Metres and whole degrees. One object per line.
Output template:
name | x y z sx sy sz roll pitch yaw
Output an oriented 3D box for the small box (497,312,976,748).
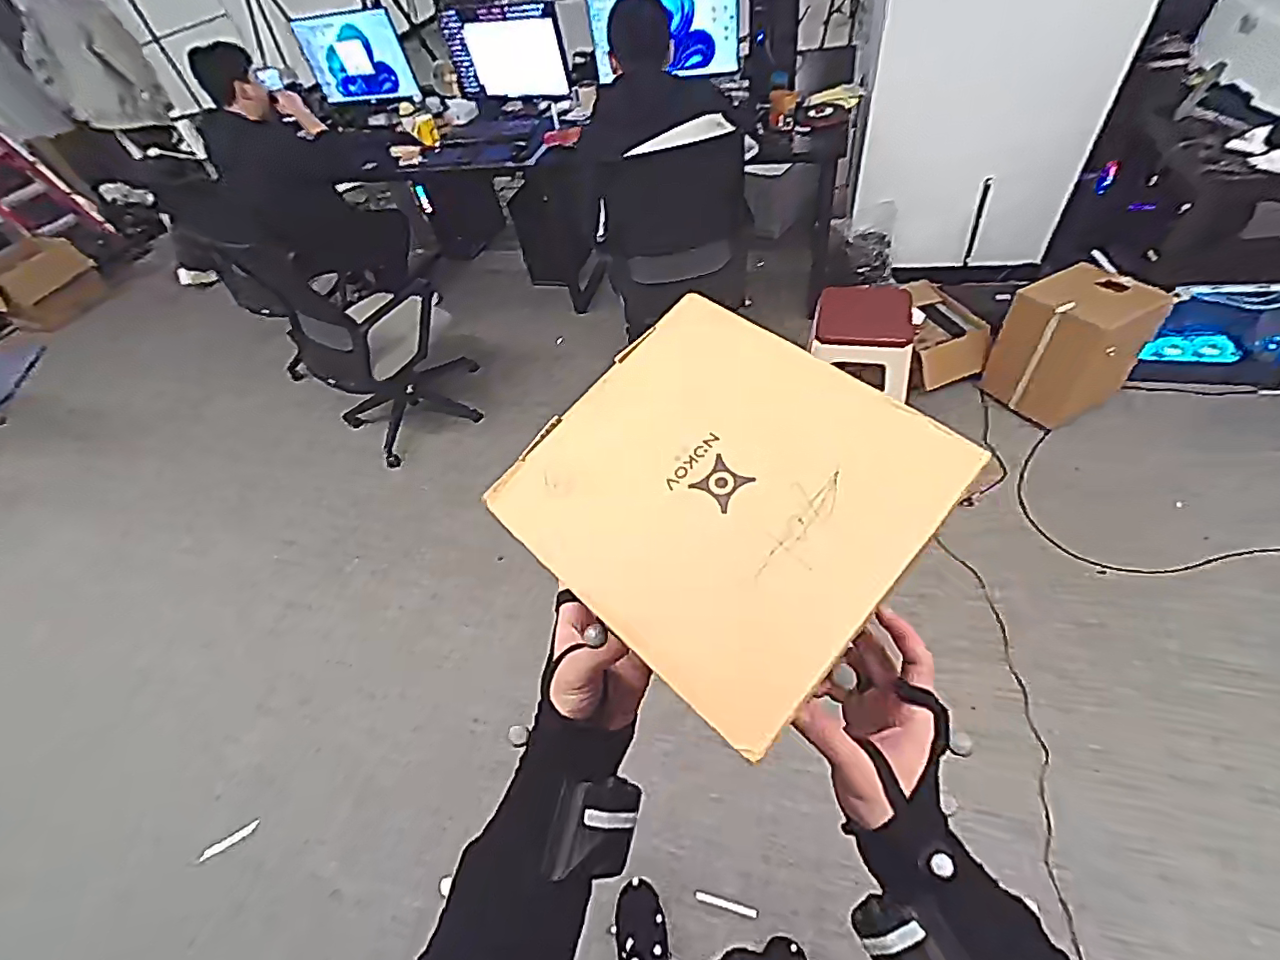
small box | 0.052 0.039 0.335 0.179 0.176 0.168 37 77 24
